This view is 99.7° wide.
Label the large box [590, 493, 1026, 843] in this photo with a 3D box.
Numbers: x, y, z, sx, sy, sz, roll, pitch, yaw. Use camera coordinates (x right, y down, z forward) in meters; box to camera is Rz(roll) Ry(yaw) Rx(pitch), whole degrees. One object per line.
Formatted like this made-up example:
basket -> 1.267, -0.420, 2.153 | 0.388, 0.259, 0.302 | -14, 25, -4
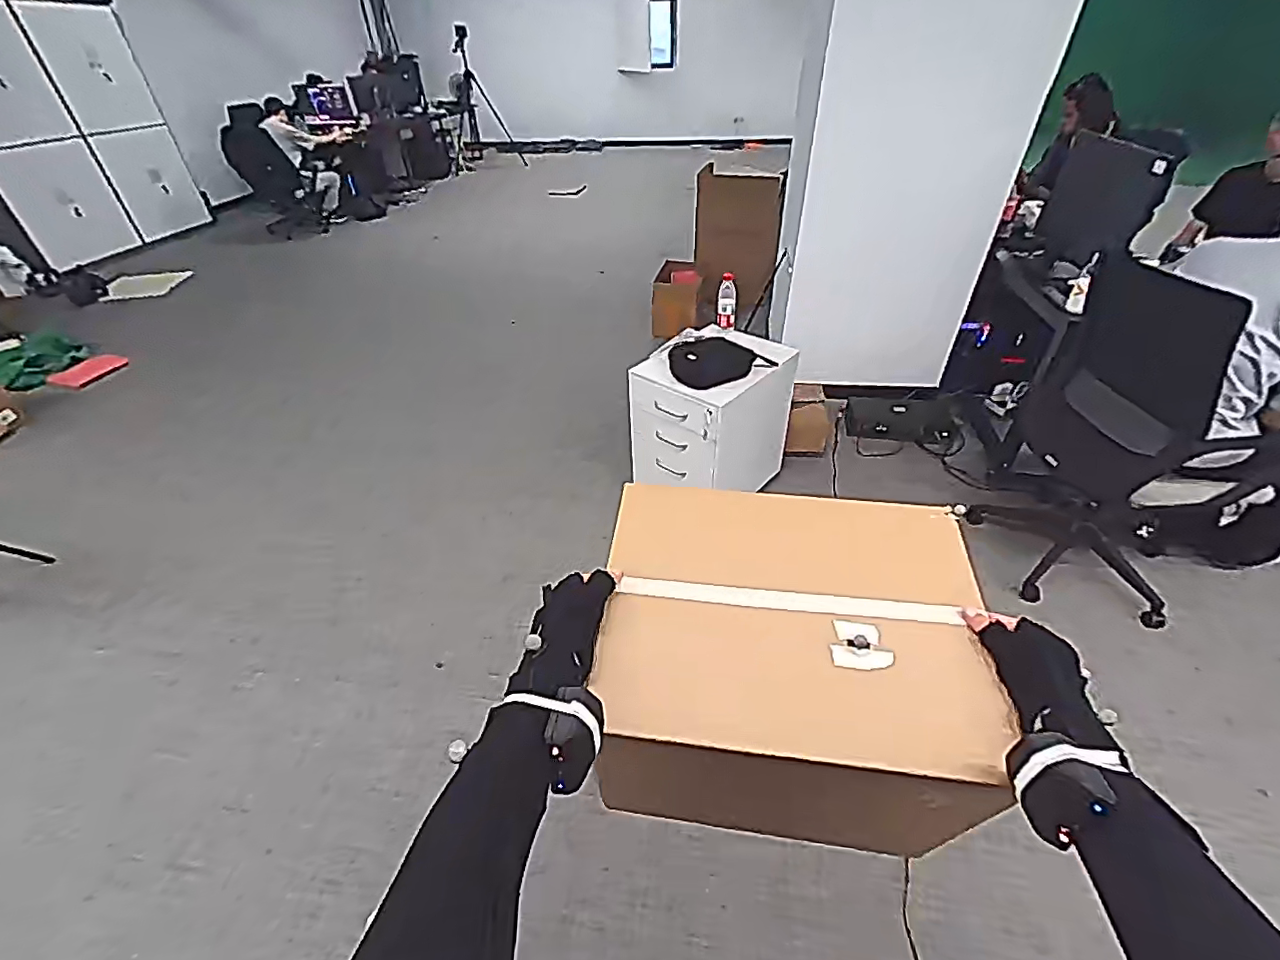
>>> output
large box -> 0.168, 0.241, 0.704 | 0.408, 0.320, 0.320 | 4, 48, 7
